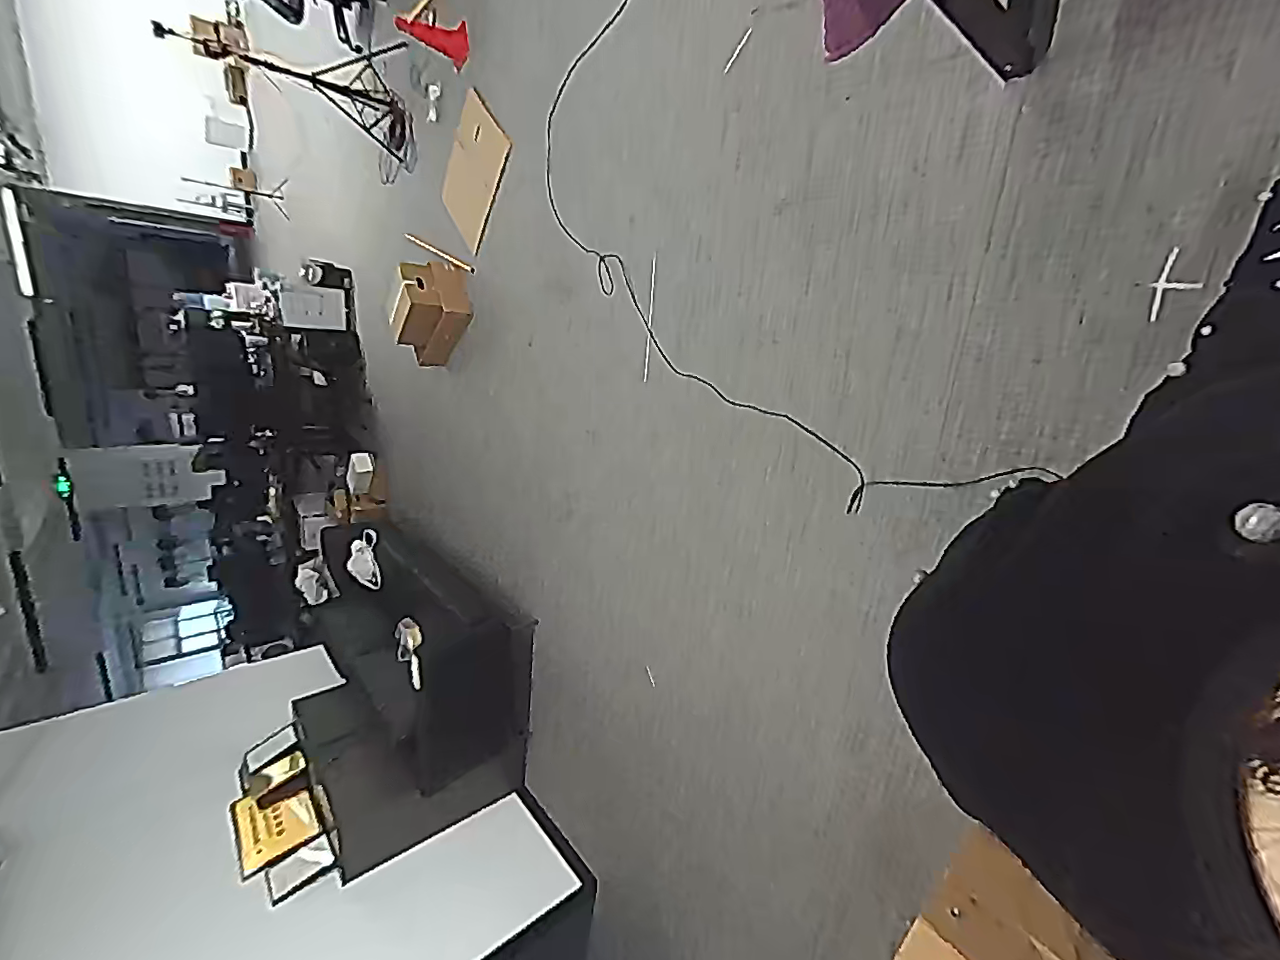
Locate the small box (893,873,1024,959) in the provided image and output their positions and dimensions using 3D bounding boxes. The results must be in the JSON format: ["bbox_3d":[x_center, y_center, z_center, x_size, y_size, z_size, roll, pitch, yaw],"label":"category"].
[{"bbox_3d":[0.678,0.996,1.148,0.168,0.176,0.179,32,121,44],"label":"small box"}]
